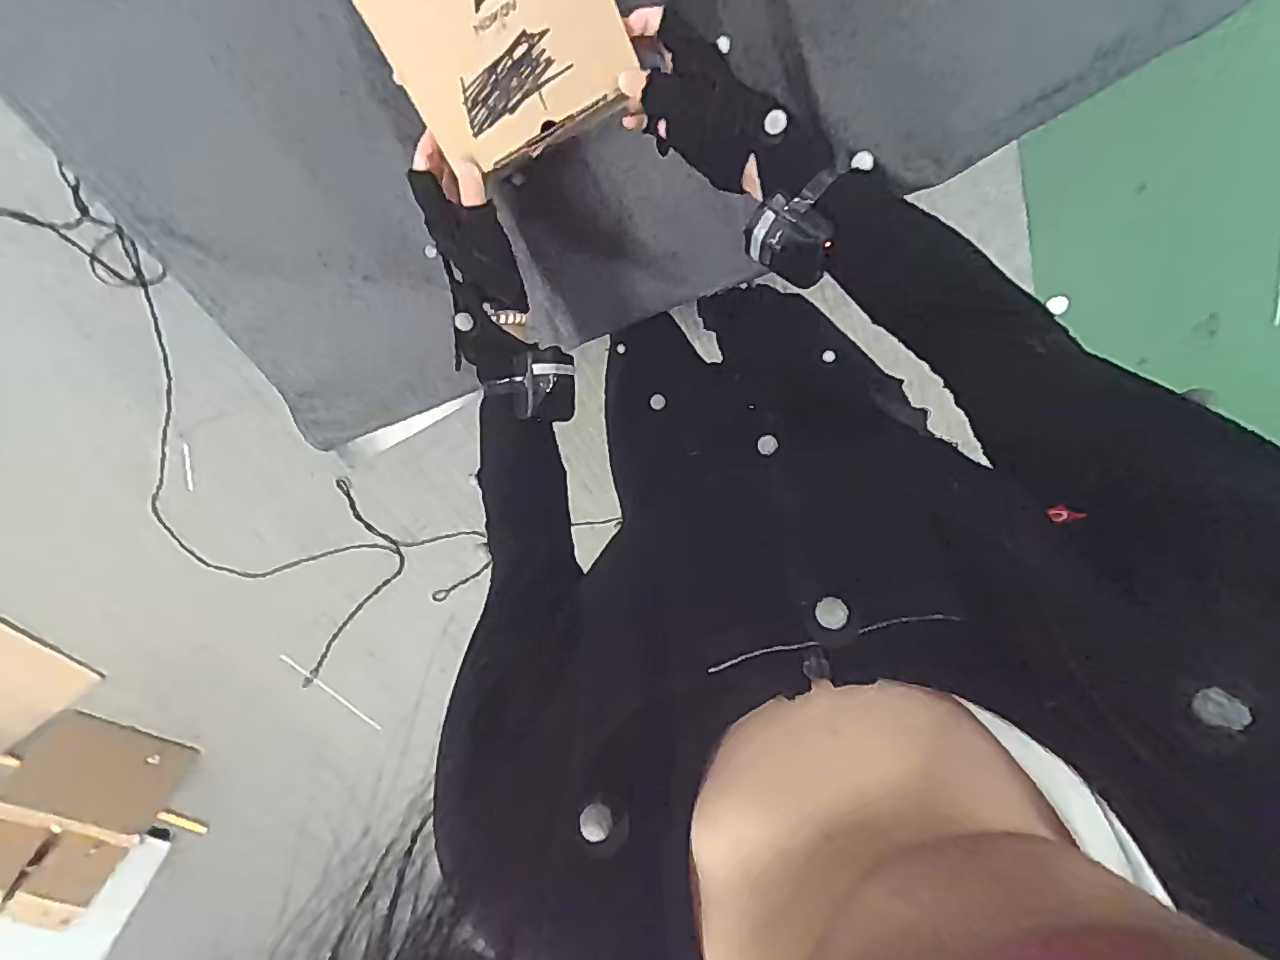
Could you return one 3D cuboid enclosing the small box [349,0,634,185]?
[{"bbox_3d":[-0.119,-0.375,0.450,0.168,0.176,0.179,-26,118,8],"label":"small box"}]
